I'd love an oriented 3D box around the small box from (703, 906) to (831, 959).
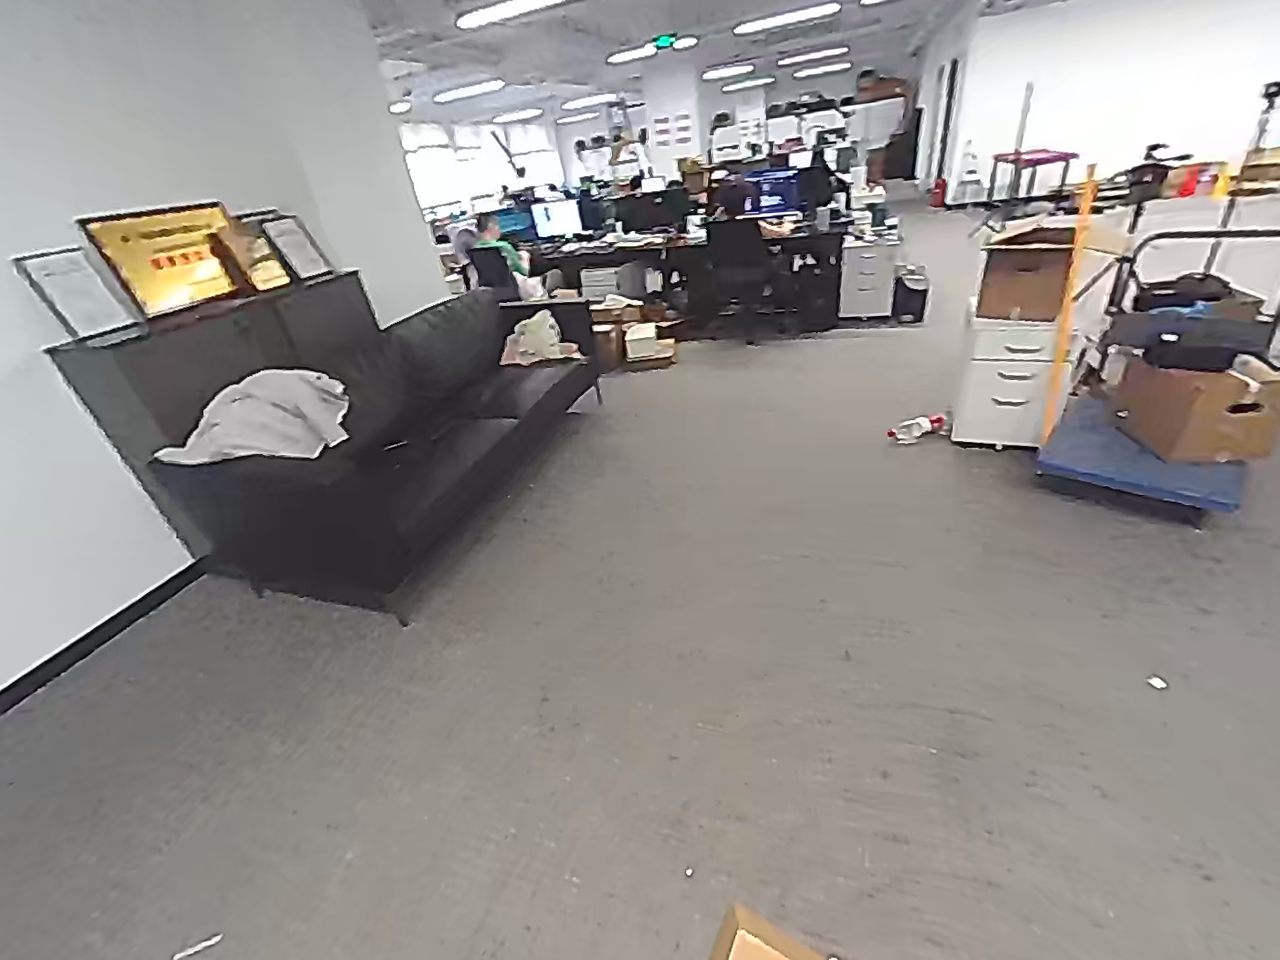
[{"bbox_3d":[0.137,0.549,0.517,0.179,0.176,0.168,21,63,18],"label":"small box"}]
